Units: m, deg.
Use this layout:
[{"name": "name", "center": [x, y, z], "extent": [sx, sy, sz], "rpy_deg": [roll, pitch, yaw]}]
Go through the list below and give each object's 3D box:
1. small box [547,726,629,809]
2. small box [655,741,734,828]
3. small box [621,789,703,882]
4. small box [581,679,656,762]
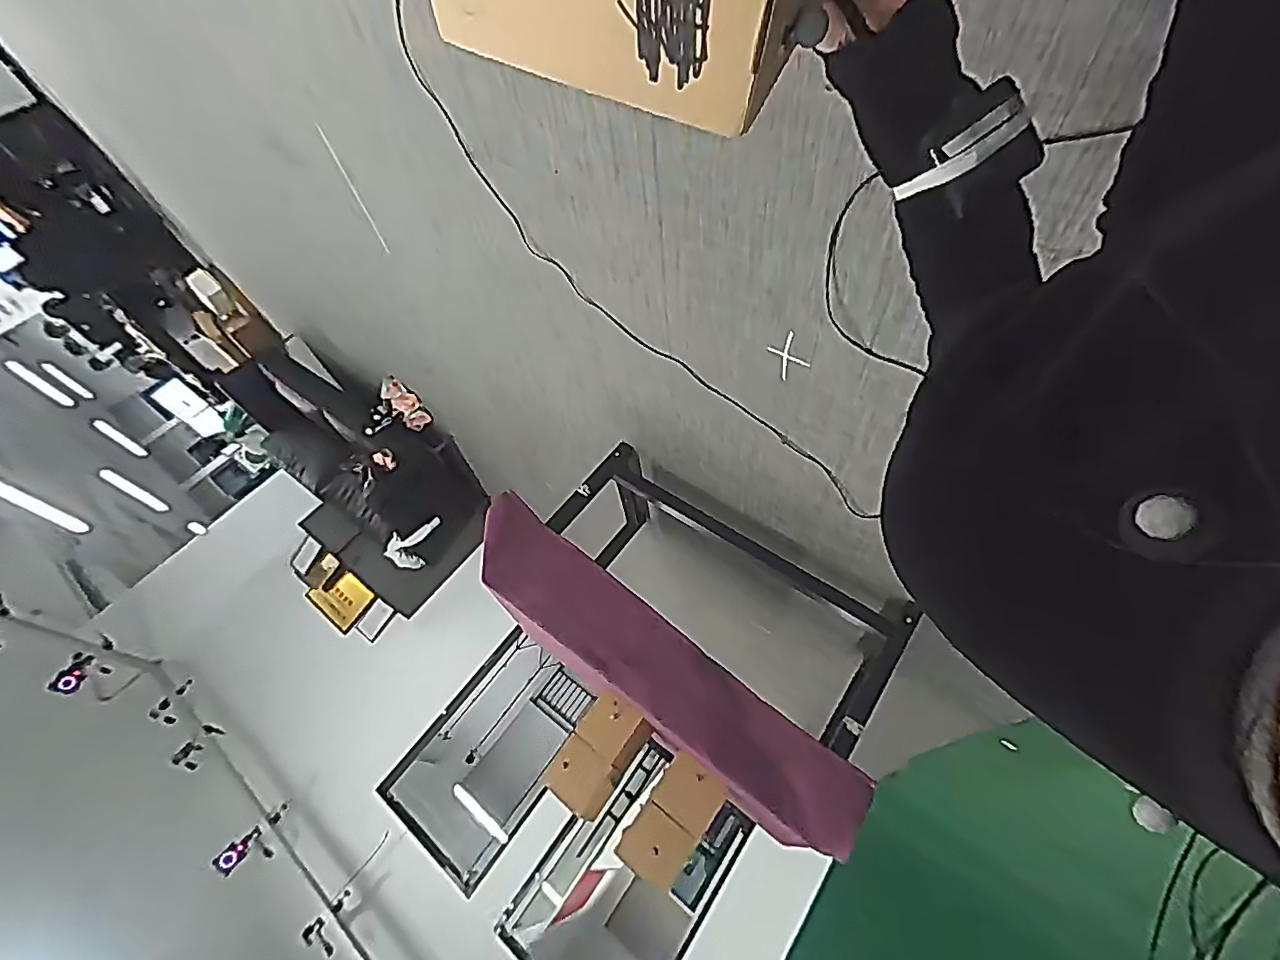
[{"name": "small box", "center": [-0.161, 0.913, 1.733], "extent": [0.179, 0.176, 0.168], "rpy_deg": [27, 155, 29]}, {"name": "small box", "center": [0.170, 0.931, 1.667], "extent": [0.179, 0.176, 0.168], "rpy_deg": [30, 156, 26]}, {"name": "small box", "center": [0.070, 1.047, 1.606], "extent": [0.179, 0.176, 0.168], "rpy_deg": [29, 155, 26]}, {"name": "small box", "center": [-0.064, 0.799, 1.798], "extent": [0.168, 0.176, 0.179], "rpy_deg": [26, 153, 30]}]
